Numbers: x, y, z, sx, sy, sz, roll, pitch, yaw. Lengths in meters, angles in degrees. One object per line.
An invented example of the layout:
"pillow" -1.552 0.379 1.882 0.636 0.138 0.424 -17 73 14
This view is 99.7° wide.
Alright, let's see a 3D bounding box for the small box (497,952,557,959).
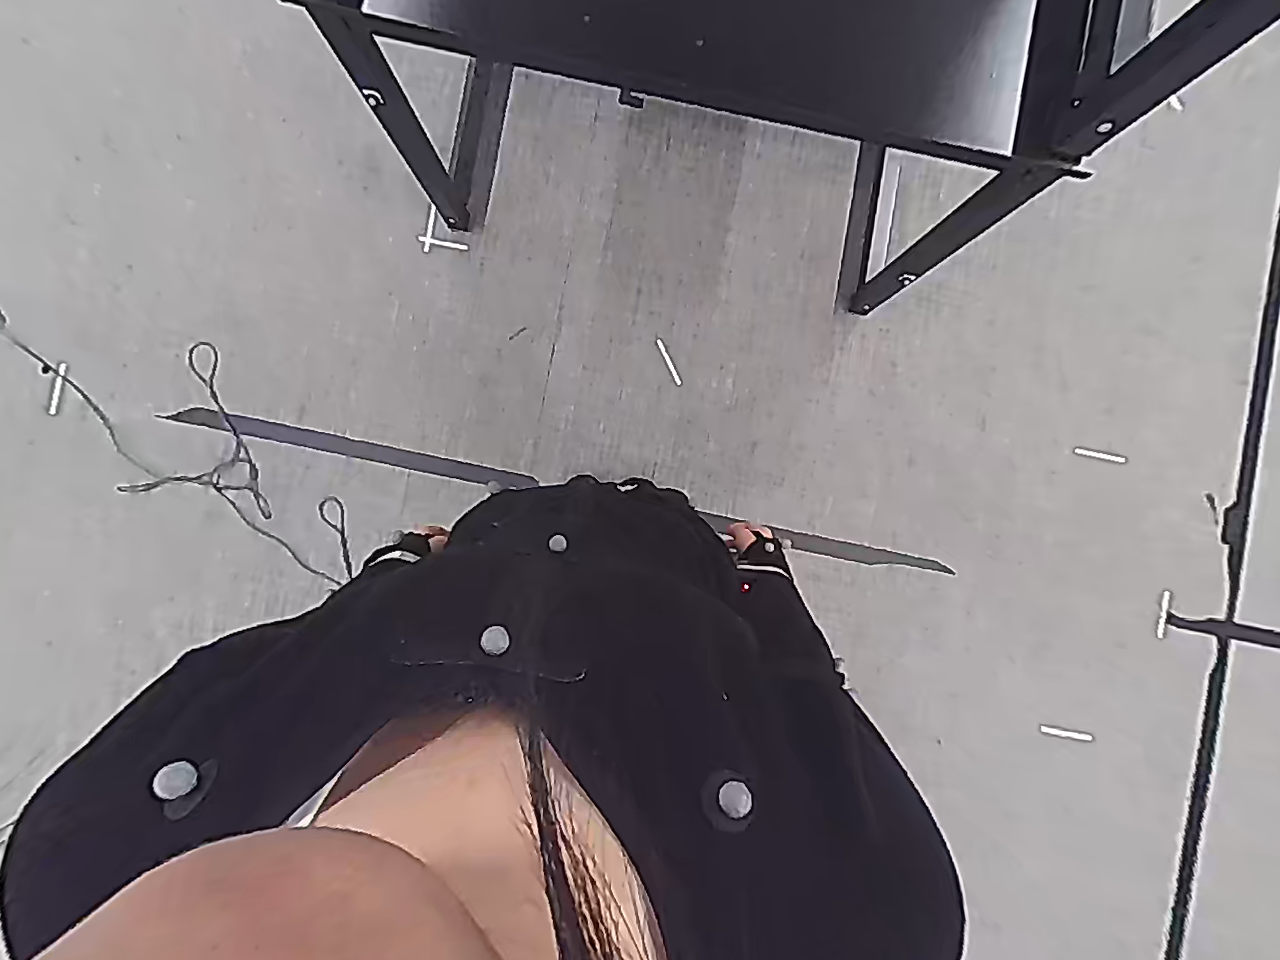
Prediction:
"small box" -0.298 1.346 1.370 0.168 0.176 0.179 2 89 -3
